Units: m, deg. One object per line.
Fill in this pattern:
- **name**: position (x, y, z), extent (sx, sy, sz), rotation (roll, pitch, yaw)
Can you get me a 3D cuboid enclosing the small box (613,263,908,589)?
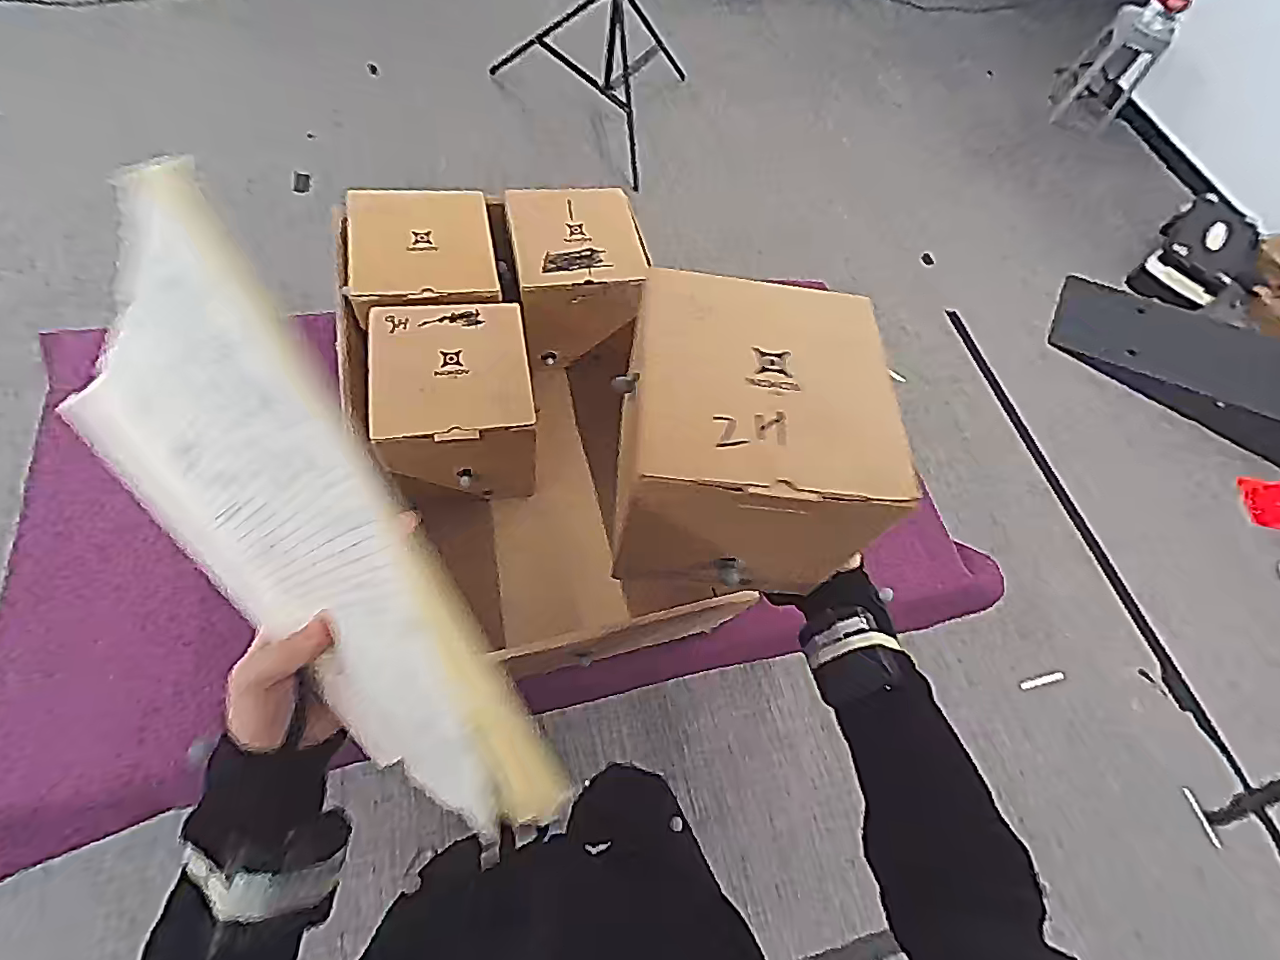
- **small box**: position (0.069, -0.032, 0.416), extent (0.168, 0.176, 0.179), rotation (5, 60, -4)
